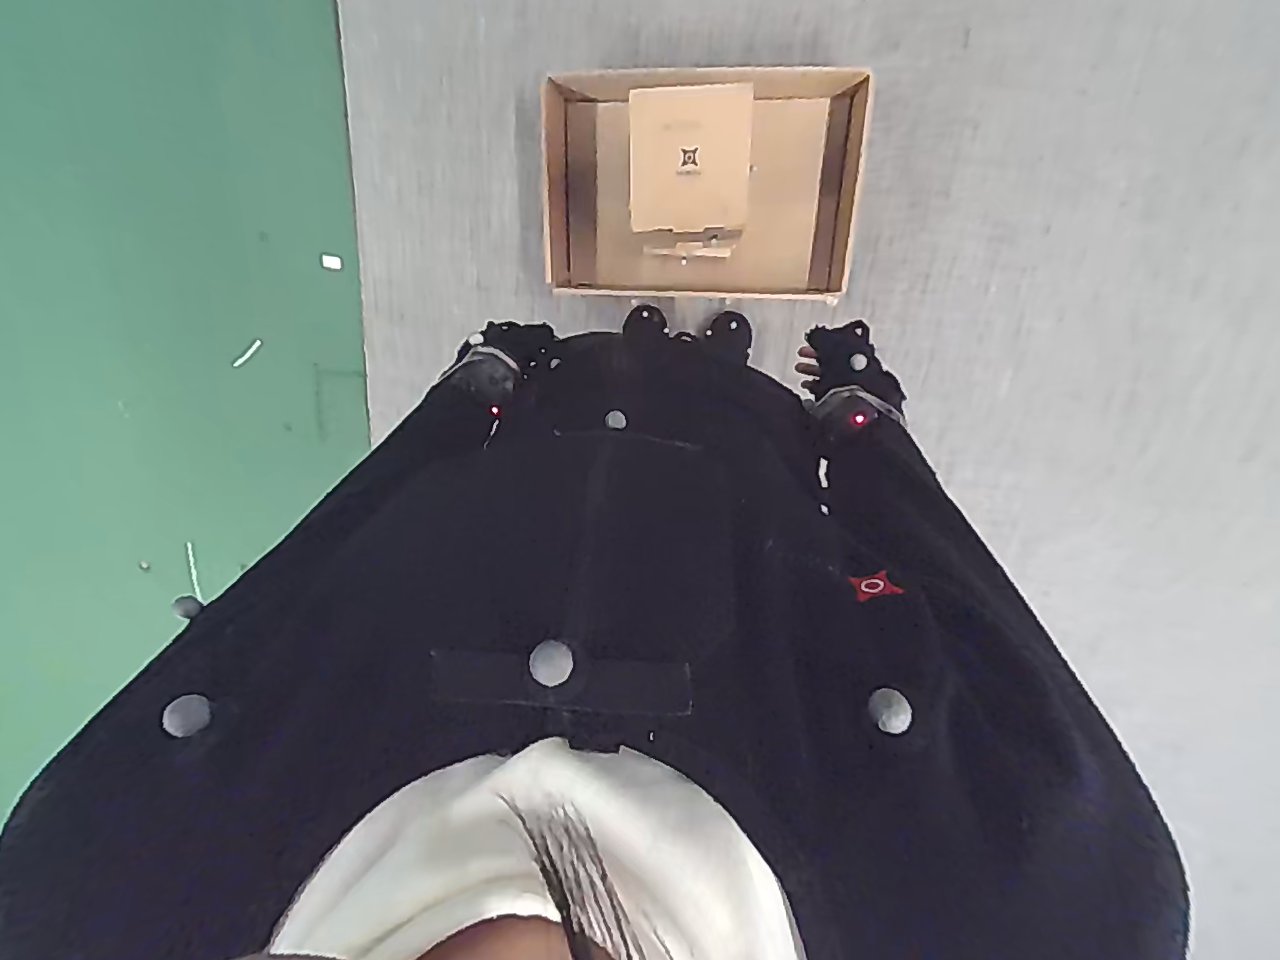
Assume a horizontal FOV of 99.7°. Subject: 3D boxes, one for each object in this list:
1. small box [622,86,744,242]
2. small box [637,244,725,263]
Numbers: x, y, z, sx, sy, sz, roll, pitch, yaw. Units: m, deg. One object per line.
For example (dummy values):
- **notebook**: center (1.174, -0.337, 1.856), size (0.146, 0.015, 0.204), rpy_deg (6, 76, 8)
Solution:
- **small box**: center (0.065, -0.459, 0.815), size (0.168, 0.176, 0.179), rpy_deg (1, 107, 5)
- **small box**: center (0.094, -0.554, 1.142), size (0.179, 0.176, 0.168), rpy_deg (6, 108, 6)
